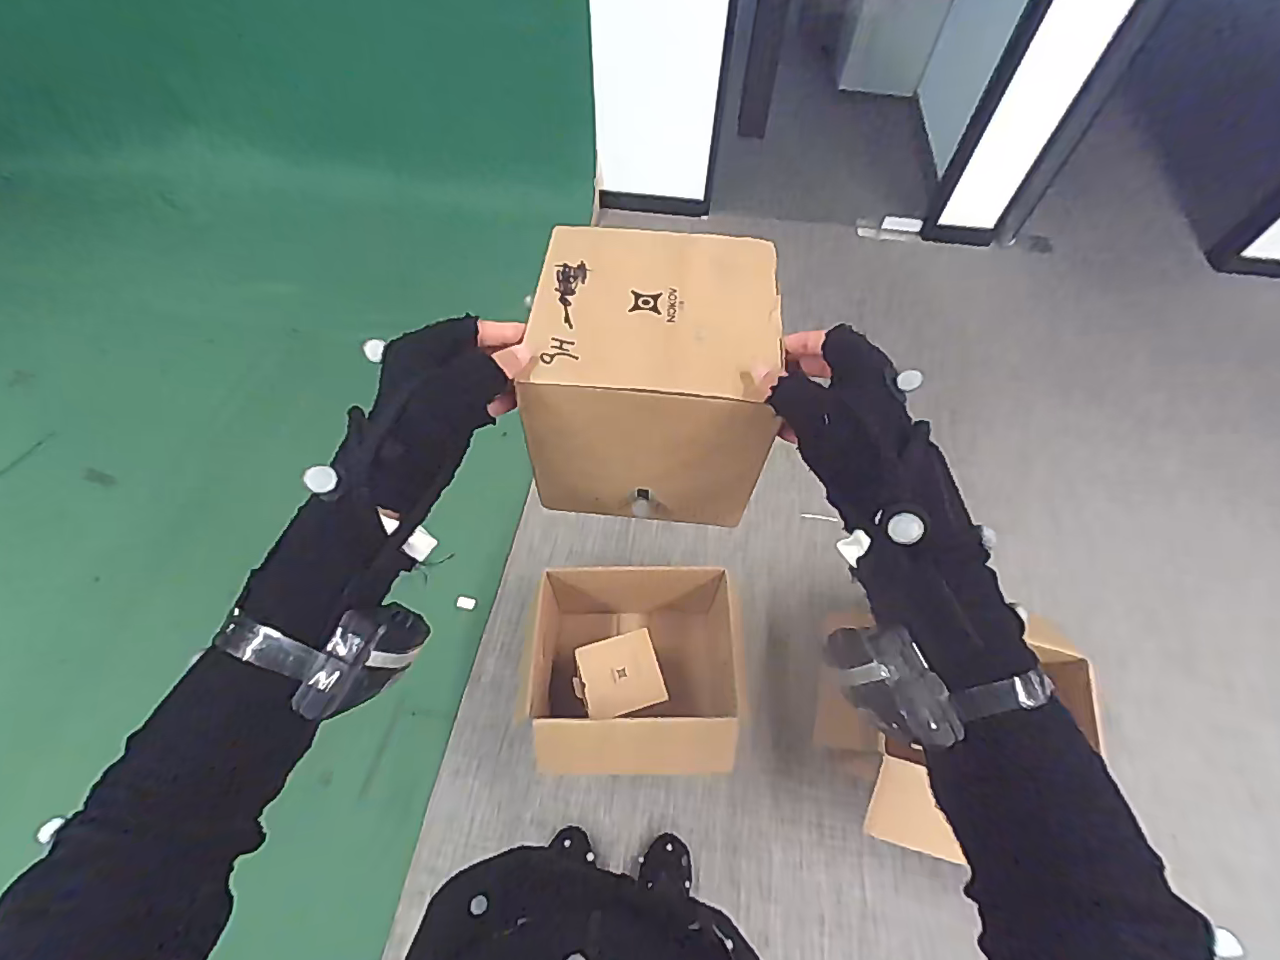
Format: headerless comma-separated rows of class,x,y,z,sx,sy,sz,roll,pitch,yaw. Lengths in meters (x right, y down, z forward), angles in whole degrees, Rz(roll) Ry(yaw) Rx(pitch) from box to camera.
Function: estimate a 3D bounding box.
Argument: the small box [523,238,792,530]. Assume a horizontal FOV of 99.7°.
small box,0.012,-0.070,0.452,0.179,0.176,0.168,5,57,-1
